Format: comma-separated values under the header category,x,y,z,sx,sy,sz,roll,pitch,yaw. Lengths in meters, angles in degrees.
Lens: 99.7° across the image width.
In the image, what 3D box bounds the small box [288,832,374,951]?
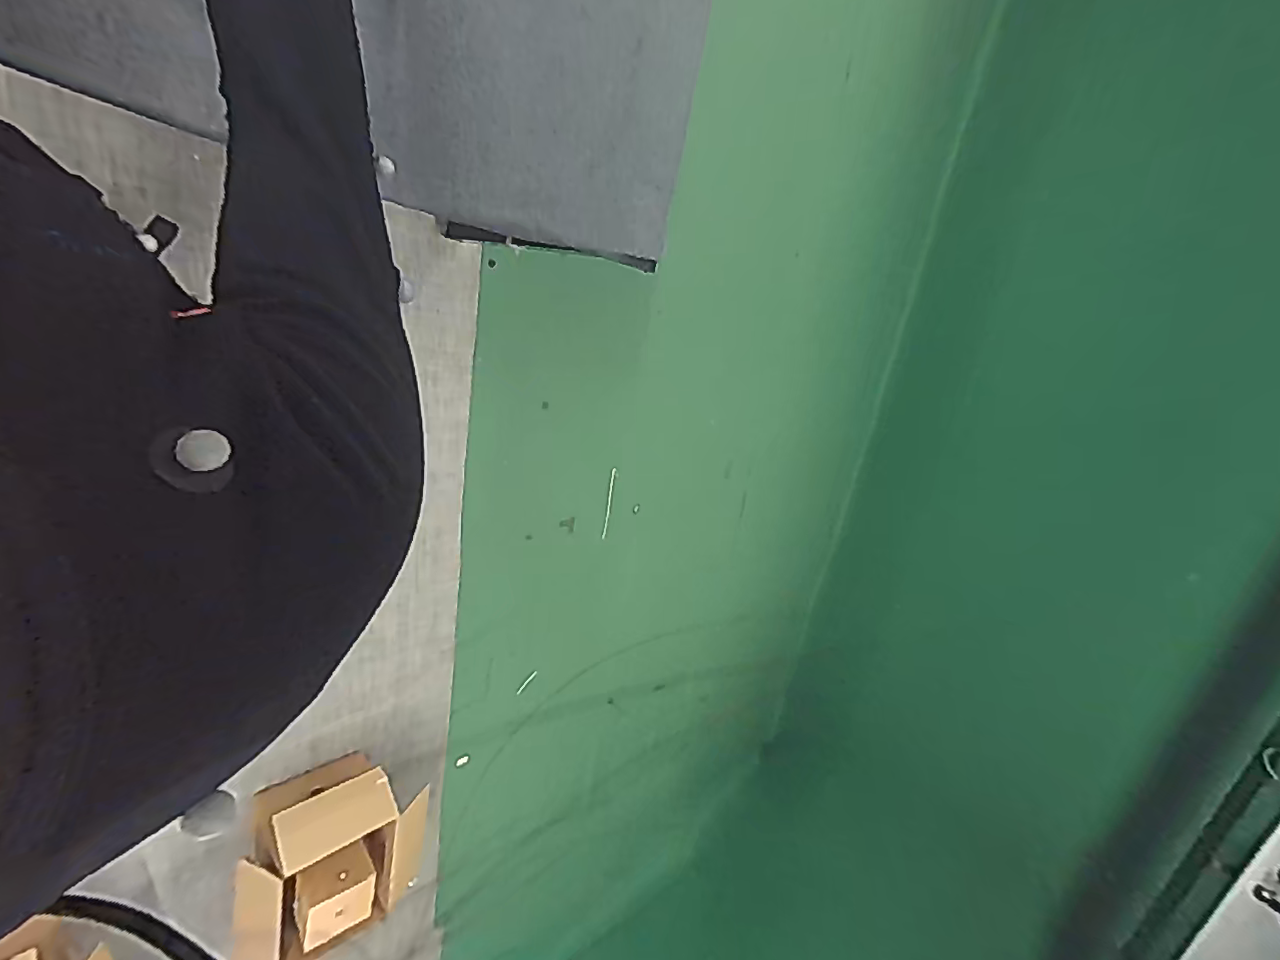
category,x,y,z,sx,sy,sz,roll,pitch,yaw
small box,-0.899,1.179,1.564,0.179,0.176,0.168,-3,112,-47
